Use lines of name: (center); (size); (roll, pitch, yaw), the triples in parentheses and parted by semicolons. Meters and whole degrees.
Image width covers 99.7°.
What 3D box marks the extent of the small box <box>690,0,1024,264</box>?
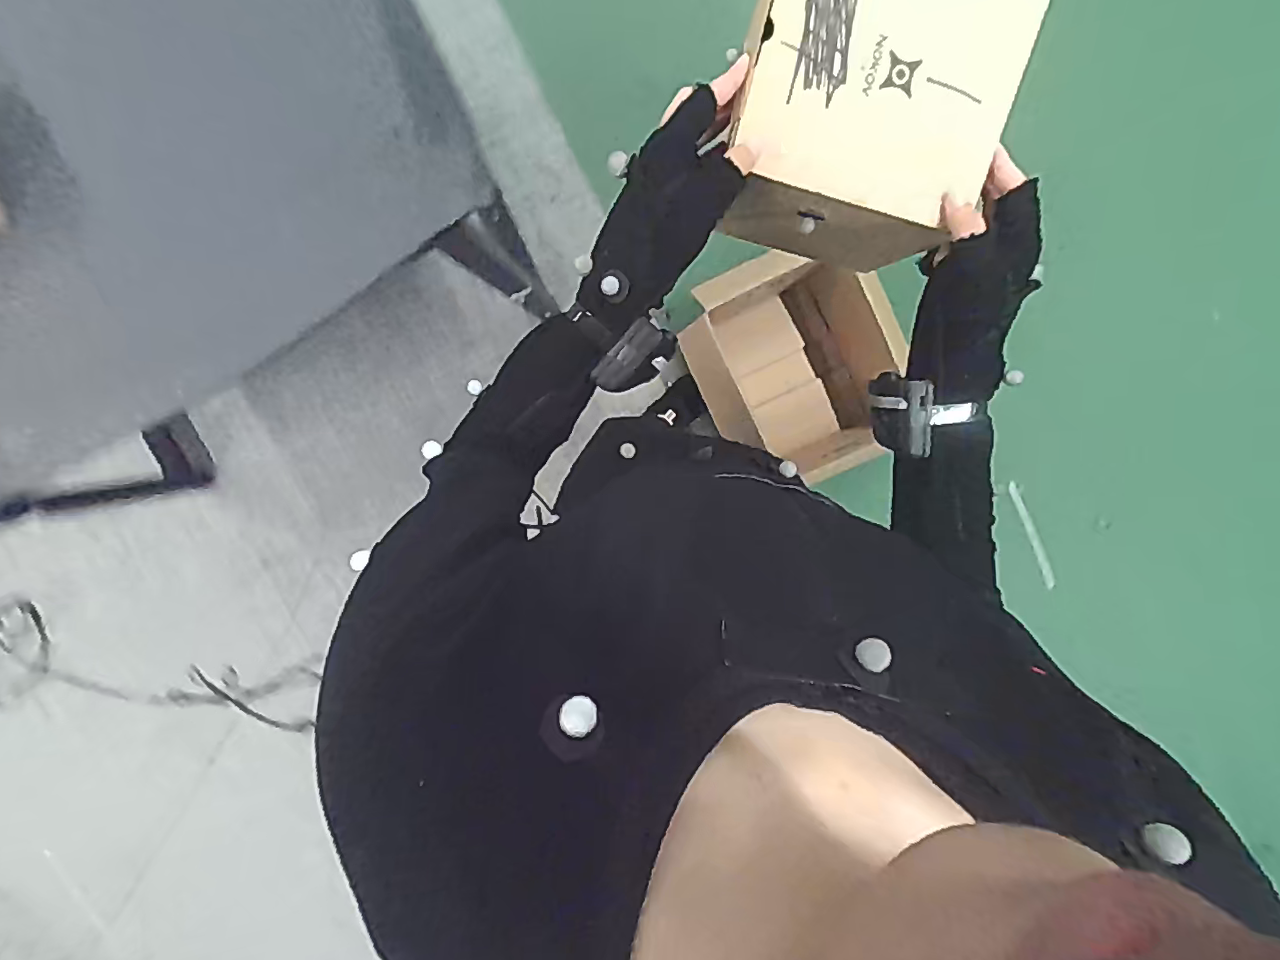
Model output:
small box: (0.144, -0.282, 0.426); (0.179, 0.176, 0.168); (12, 102, -4)
